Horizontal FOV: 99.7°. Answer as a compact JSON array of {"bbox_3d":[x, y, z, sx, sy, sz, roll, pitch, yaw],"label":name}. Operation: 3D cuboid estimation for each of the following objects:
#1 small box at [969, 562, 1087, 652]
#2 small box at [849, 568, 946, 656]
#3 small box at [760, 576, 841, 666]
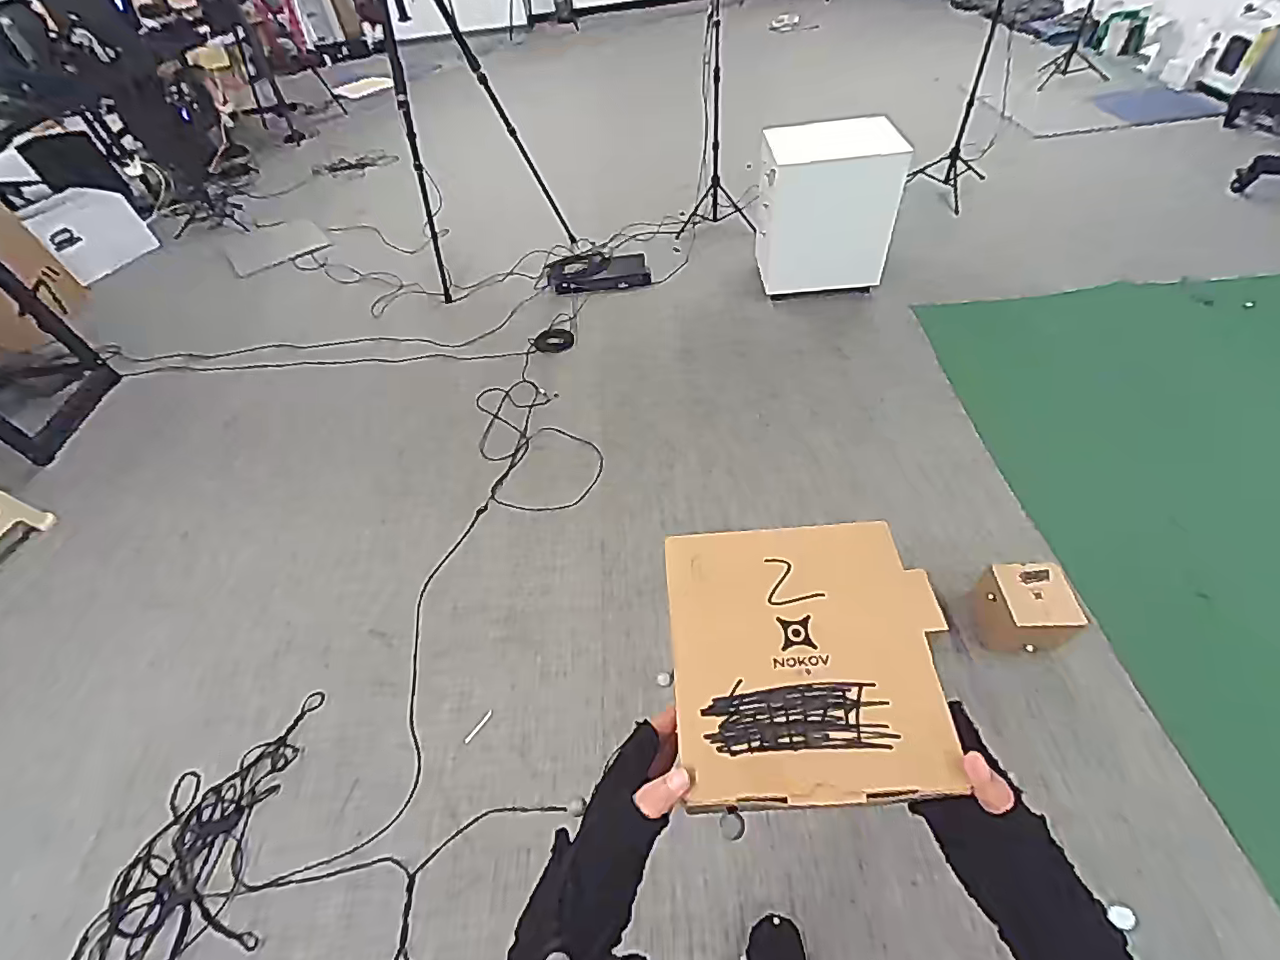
[{"bbox_3d":[0.997,0.332,1.412,0.168,0.176,0.179,-2,51,5],"label":"small box"},{"bbox_3d":[0.673,0.355,1.433,0.168,0.176,0.179,-5,49,3],"label":"small box"},{"bbox_3d":[0.418,0.378,1.441,0.168,0.176,0.179,-5,50,4],"label":"small box"}]
